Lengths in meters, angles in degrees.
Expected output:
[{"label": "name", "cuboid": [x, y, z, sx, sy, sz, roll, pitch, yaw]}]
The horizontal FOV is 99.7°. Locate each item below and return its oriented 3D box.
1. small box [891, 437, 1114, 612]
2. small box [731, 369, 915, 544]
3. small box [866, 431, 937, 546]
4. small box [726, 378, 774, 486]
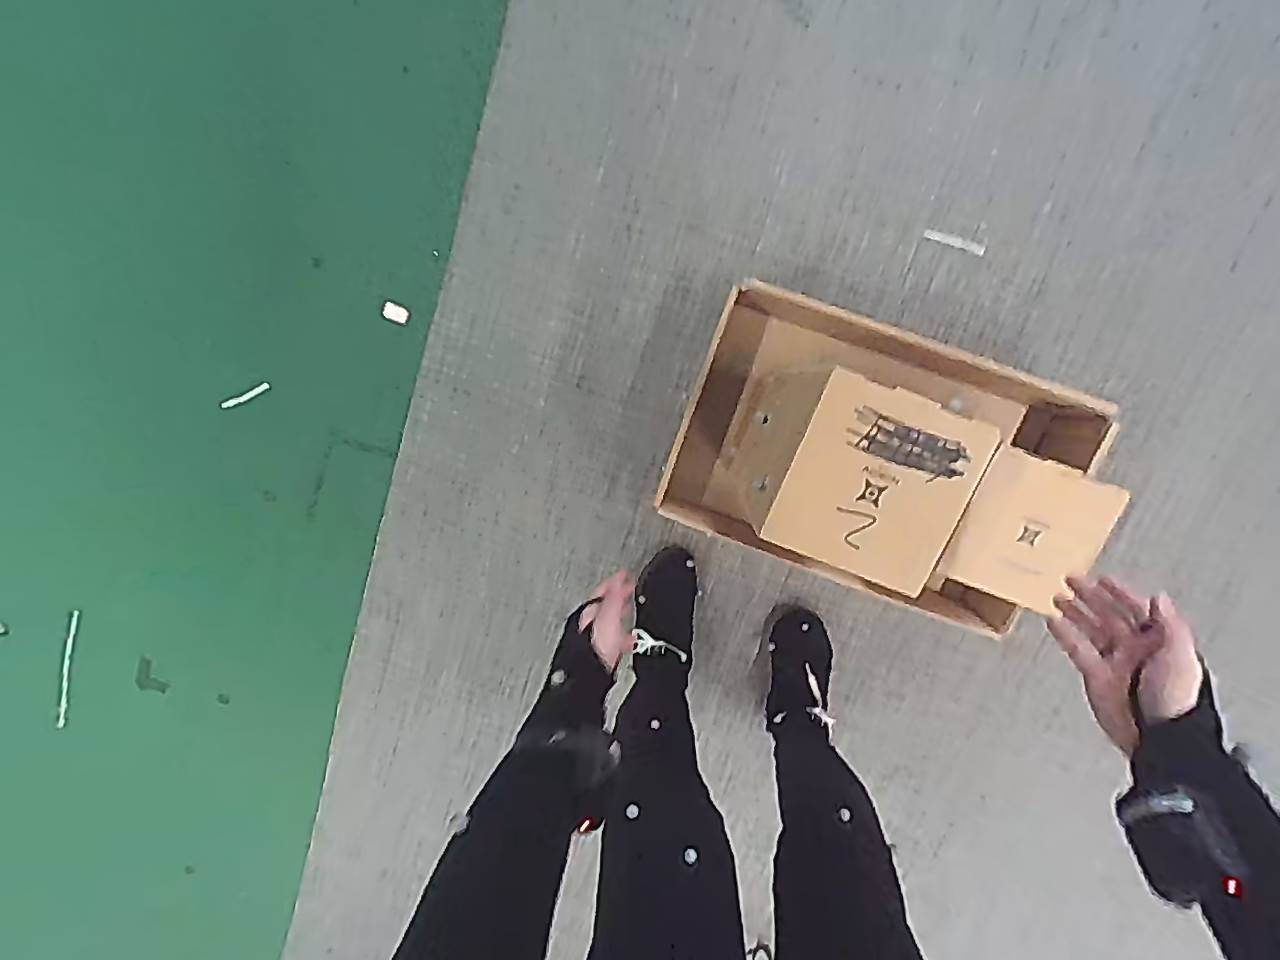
[{"label": "small box", "cuboid": [0.483, 0.049, 0.757, 0.168, 0.176, 0.179, 22, 101, 2]}, {"label": "small box", "cuboid": [0.237, -0.040, 0.757, 0.168, 0.176, 0.179, 24, 100, 0]}, {"label": "small box", "cuboid": [0.498, 0.025, 0.917, 0.168, 0.176, 0.179, 20, 101, 2]}, {"label": "small box", "cuboid": [0.252, -0.065, 0.919, 0.168, 0.176, 0.179, 18, 101, -1]}]
